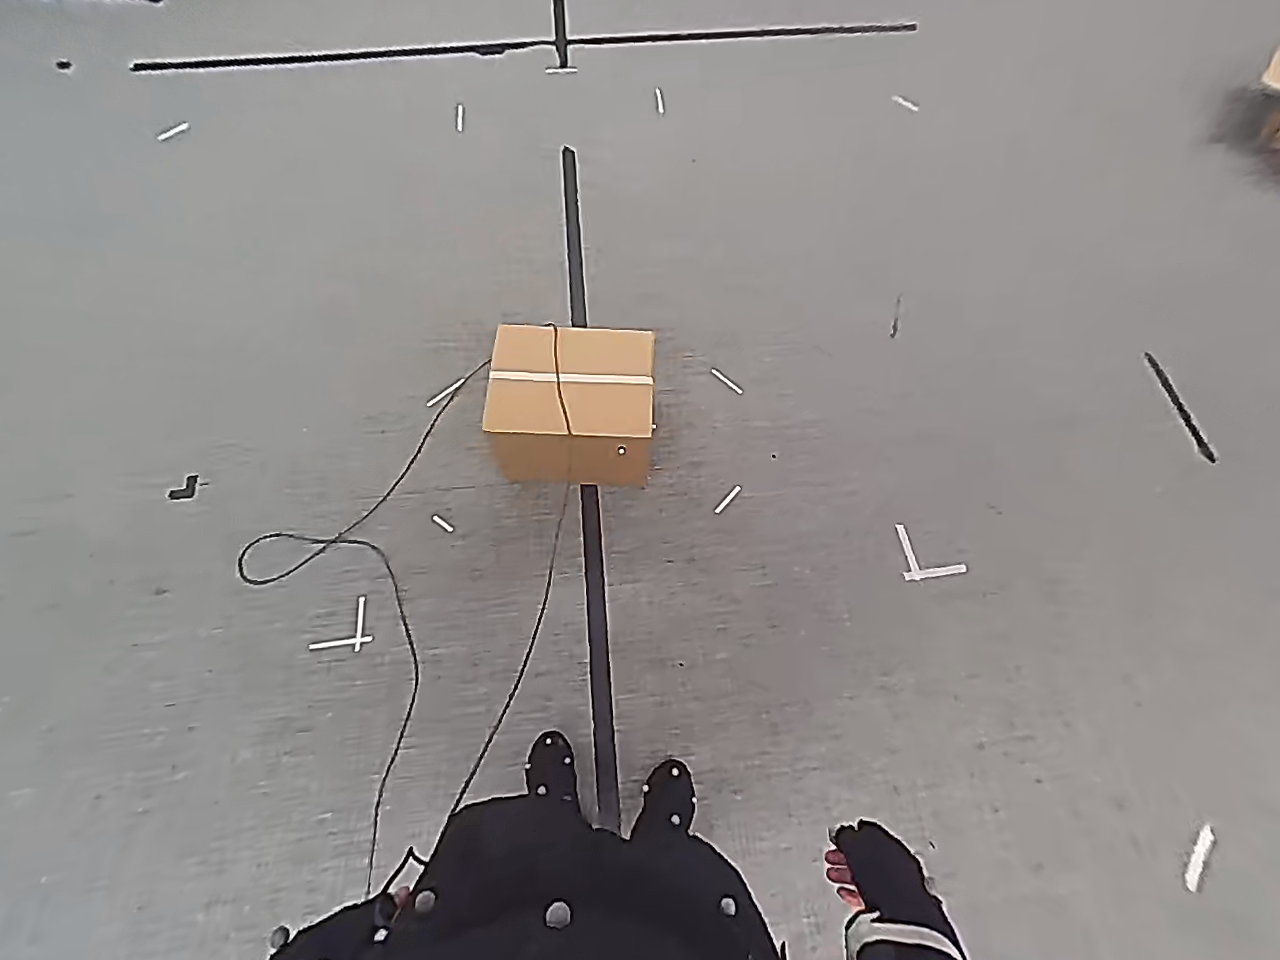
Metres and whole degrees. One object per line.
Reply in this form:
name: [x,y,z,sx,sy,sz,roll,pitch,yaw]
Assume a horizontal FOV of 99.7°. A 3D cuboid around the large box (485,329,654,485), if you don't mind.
large box: [-0.167,-0.184,1.465,0.408,0.320,0.320,2,67,-1]
